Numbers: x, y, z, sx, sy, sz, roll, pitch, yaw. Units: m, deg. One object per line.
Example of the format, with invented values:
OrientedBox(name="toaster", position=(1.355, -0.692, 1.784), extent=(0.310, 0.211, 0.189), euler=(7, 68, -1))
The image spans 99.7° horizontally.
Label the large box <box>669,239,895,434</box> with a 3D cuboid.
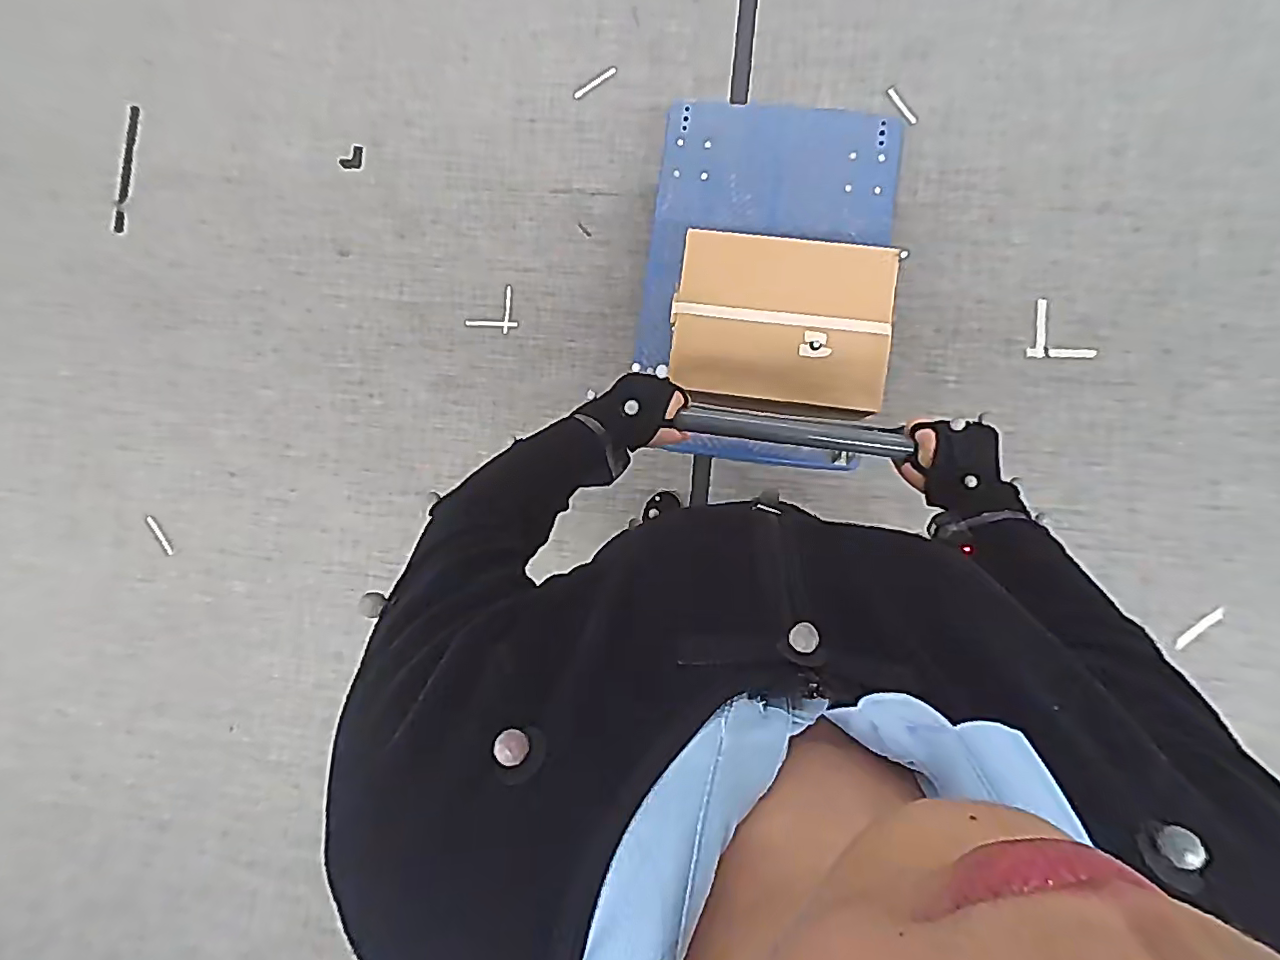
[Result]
OrientedBox(name="large box", position=(0.276, -0.289, 1.178), extent=(0.408, 0.320, 0.320), euler=(8, 90, 3))
